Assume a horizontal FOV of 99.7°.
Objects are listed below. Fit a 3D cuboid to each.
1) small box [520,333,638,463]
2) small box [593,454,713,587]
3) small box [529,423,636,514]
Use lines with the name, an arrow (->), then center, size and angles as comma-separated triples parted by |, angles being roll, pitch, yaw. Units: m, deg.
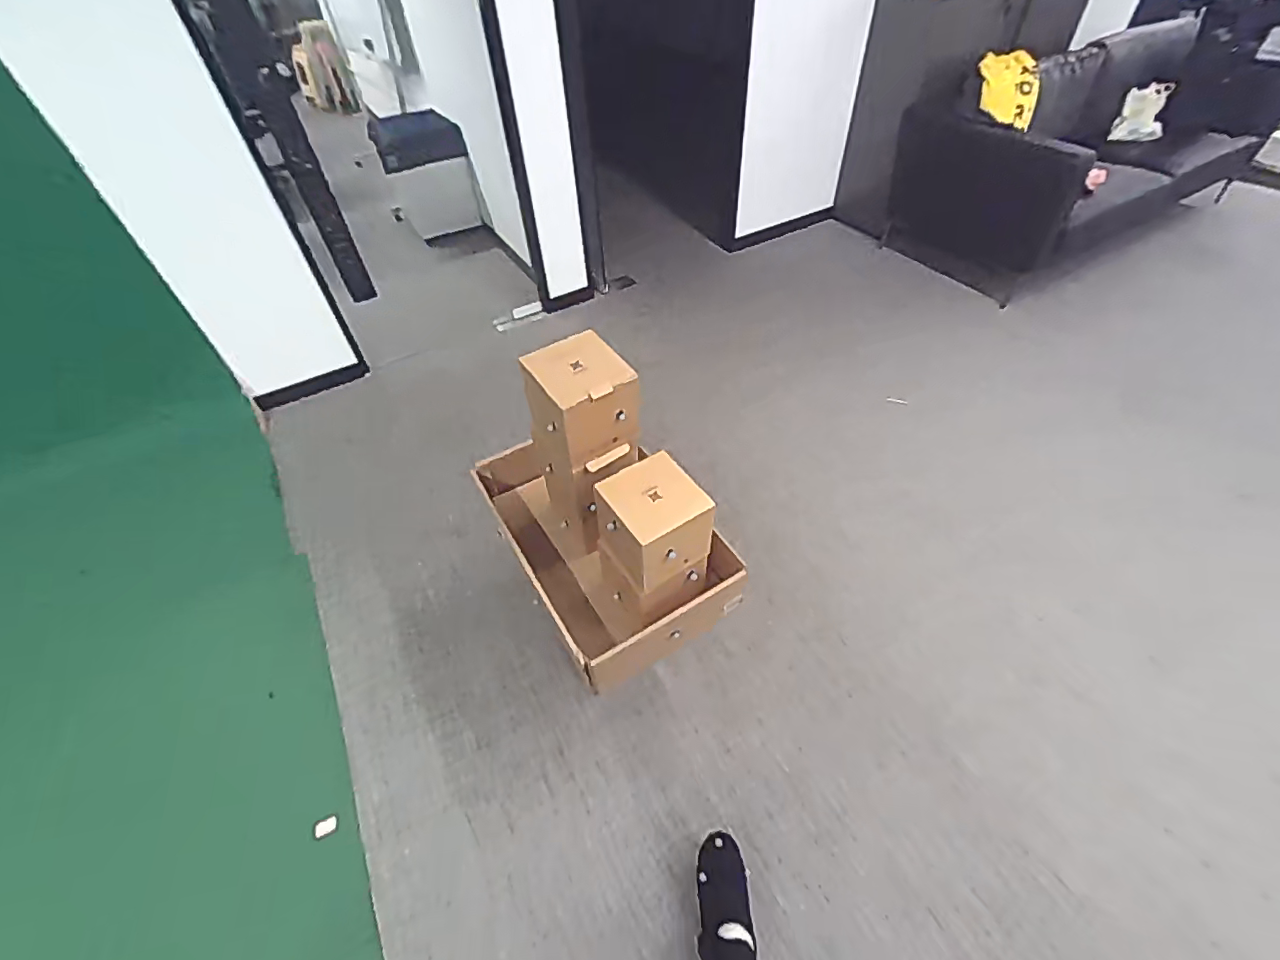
small box -> -0.115, -0.155, 1.077 | 0.168, 0.176, 0.179 | -27, 55, -21
small box -> 0.027, 0.087, 1.073 | 0.168, 0.176, 0.179 | -27, 52, -20
small box -> -0.120, -0.049, 1.200 | 0.168, 0.176, 0.179 | -30, 56, -22
